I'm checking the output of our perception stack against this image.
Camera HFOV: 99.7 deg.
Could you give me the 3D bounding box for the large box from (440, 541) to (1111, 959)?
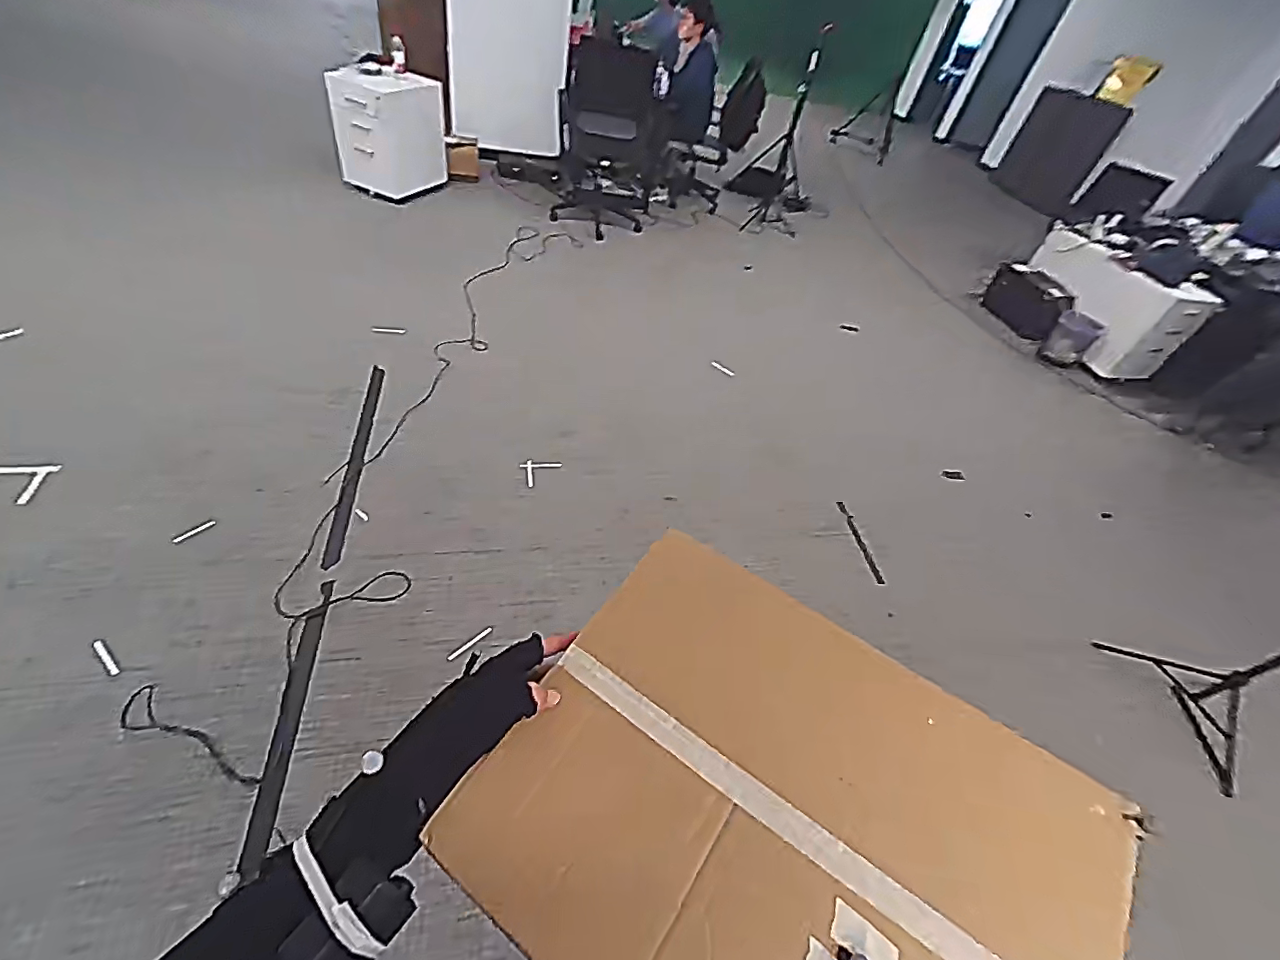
[{"bbox_3d":[0.098,0.335,0.508,0.408,0.320,0.320,31,58,20],"label":"large box"}]
